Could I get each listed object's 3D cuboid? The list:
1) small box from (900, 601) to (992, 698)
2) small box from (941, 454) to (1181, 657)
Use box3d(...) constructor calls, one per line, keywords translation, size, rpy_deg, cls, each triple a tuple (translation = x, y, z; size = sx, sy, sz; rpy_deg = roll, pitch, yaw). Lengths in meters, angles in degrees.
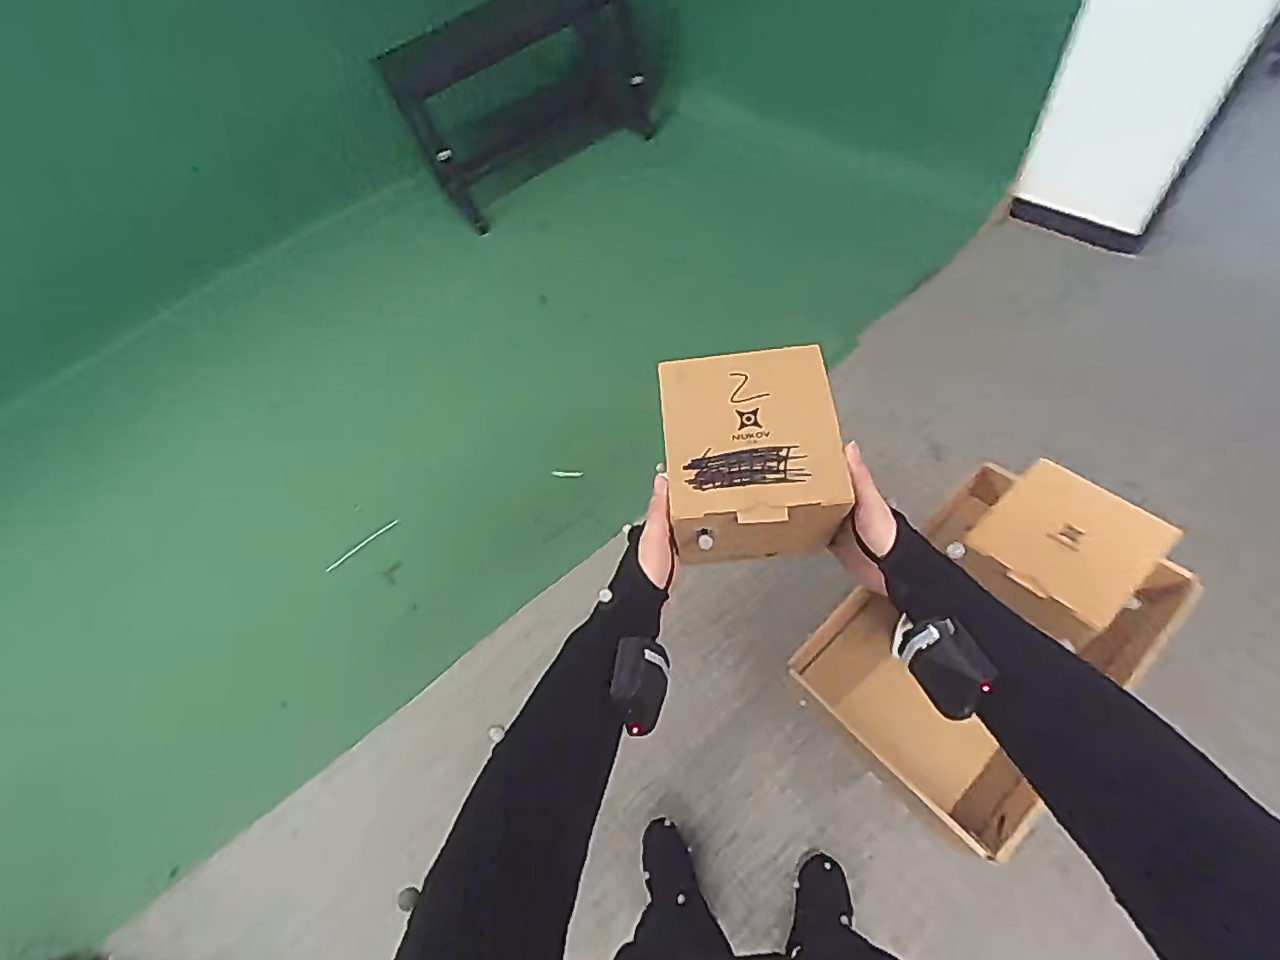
box3d(translation=(0.611, 0.274, 1.002), size=(0.179, 0.176, 0.168), rpy_deg=(-38, 58, -13), cls="small box")
box3d(translation=(0.544, 0.105, 0.730), size=(0.179, 0.176, 0.168), rpy_deg=(-40, 59, -13), cls="small box")
